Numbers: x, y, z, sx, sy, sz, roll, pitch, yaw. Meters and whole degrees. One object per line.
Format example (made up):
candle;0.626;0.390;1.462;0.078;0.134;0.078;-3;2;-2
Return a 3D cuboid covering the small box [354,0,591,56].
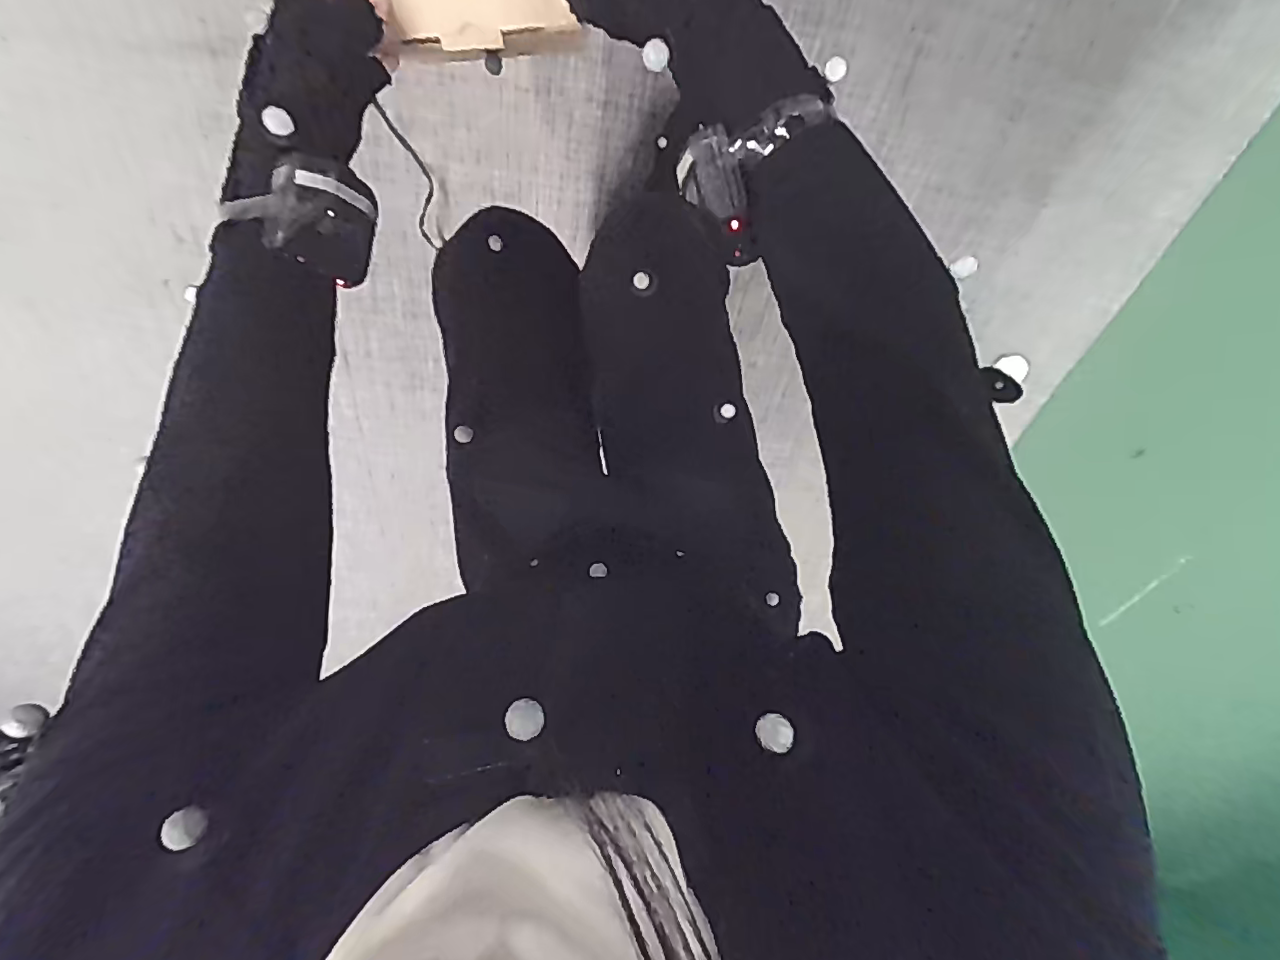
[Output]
small box;-0.129;-0.440;0.409;0.168;0.176;0.179;-6;123;-1
